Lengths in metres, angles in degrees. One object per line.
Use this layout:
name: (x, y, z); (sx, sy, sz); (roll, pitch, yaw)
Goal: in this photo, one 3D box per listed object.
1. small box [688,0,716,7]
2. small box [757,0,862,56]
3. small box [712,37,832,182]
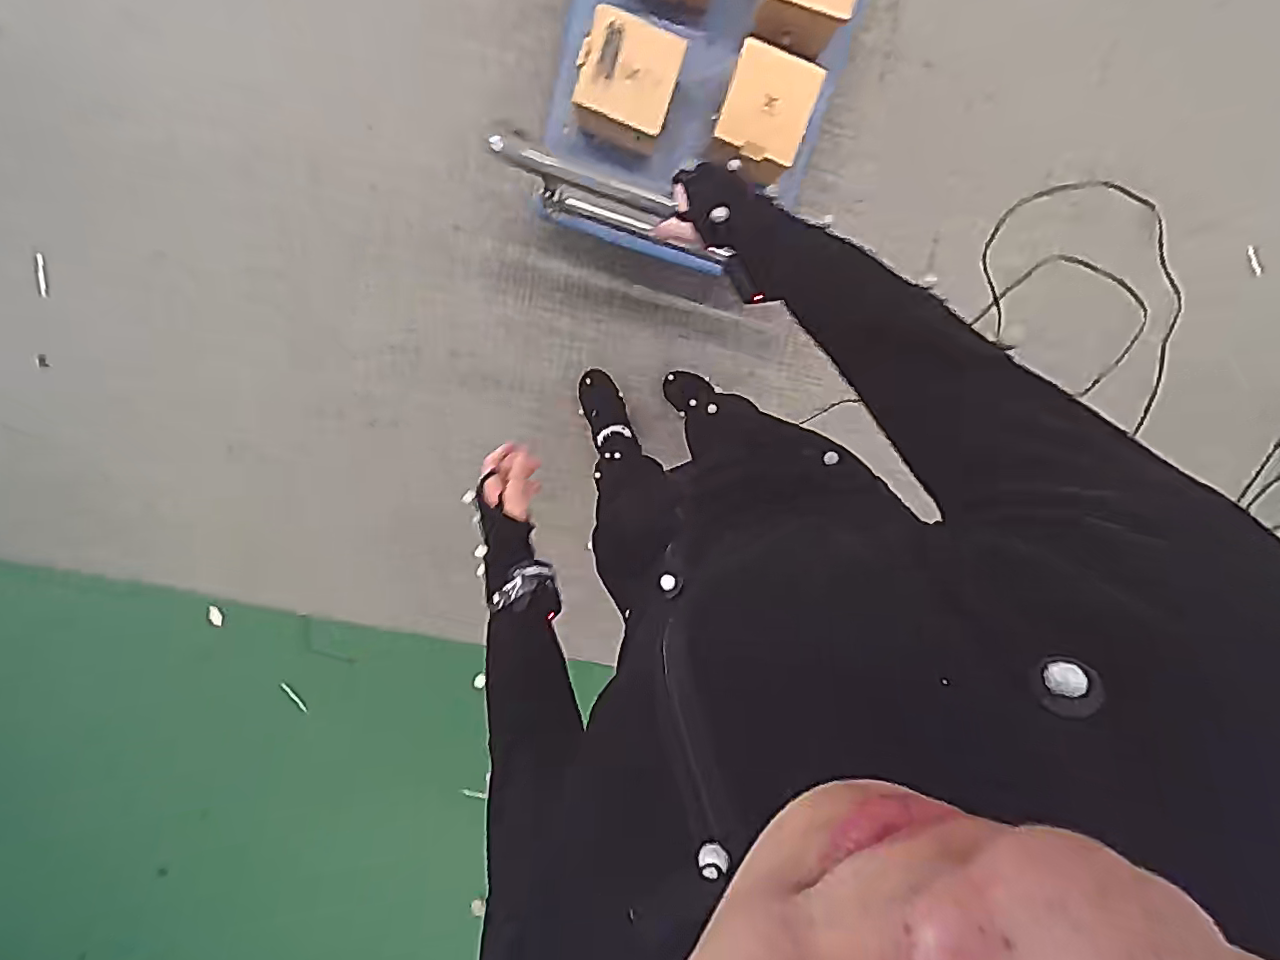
small box: (0.095, -1.035, 1.002); (0.168, 0.176, 0.179); (12, 108, -6)
small box: (0.338, -0.966, 1.032); (0.168, 0.176, 0.179); (15, 108, -5)
small box: (0.257, -0.744, 1.107); (0.168, 0.176, 0.179); (18, 108, -7)
